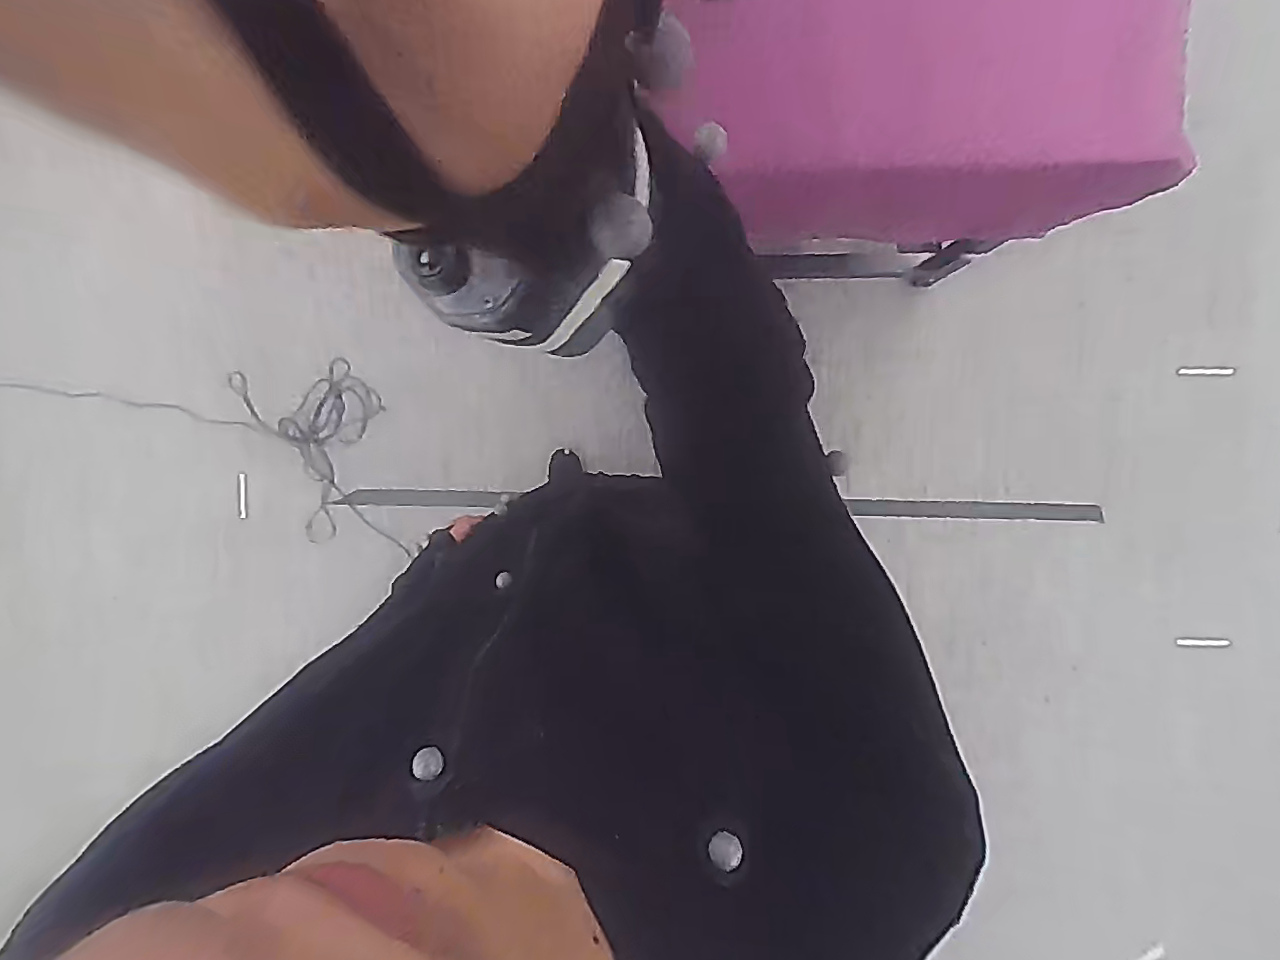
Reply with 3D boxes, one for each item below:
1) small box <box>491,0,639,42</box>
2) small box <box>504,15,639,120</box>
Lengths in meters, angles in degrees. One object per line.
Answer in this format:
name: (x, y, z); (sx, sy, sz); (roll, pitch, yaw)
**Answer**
small box: (-0.091, -0.634, 0.603); (0.179, 0.176, 0.168); (2, 94, 2)
small box: (-0.088, -0.650, 0.765); (0.168, 0.176, 0.179); (1, 95, 3)
